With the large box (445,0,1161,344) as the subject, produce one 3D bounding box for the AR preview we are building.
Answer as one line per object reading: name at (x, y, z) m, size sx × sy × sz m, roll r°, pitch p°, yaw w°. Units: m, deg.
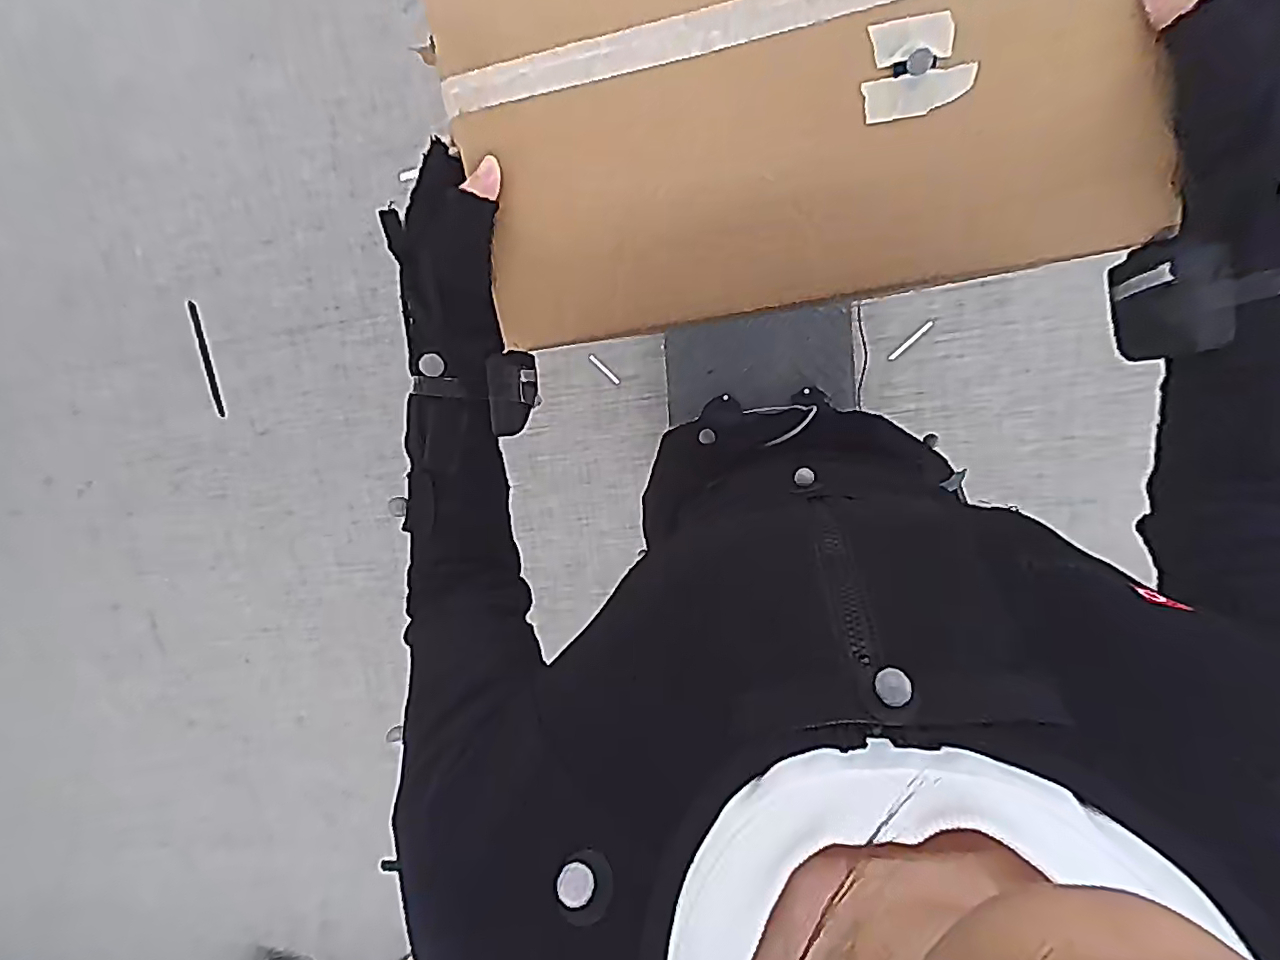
large box at (0.098, -0.308, 0.459) m, size 0.408 × 0.320 × 0.320 m, roll -8°, pitch 105°, yaw 9°
